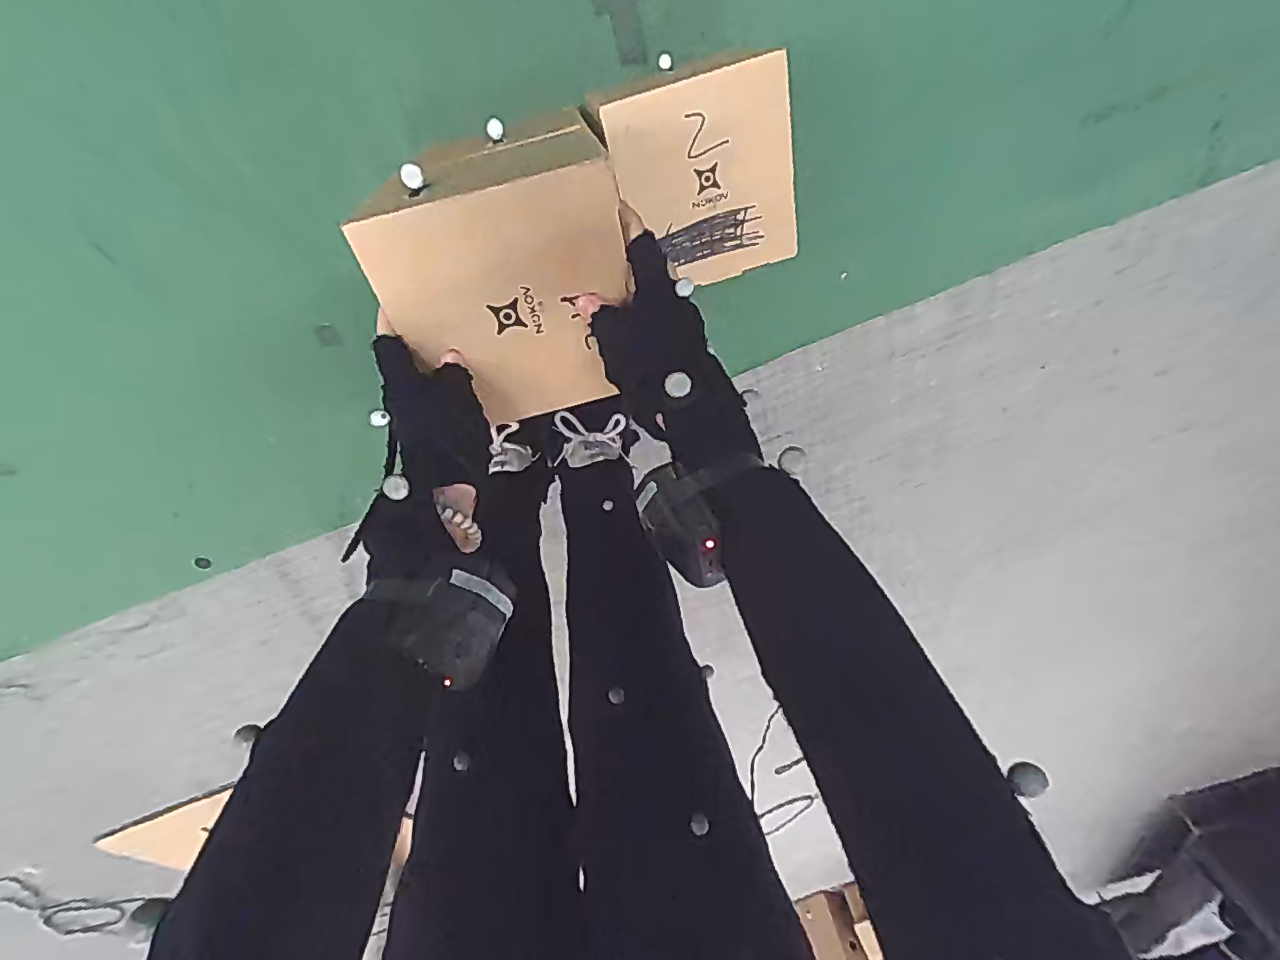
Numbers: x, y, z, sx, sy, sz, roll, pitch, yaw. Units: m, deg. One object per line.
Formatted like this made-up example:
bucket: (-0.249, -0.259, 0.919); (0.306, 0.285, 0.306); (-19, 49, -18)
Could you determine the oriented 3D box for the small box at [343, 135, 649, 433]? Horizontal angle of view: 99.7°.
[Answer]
small box: (-0.102, -0.168, 0.450); (0.179, 0.176, 0.168); (-15, 130, -1)
